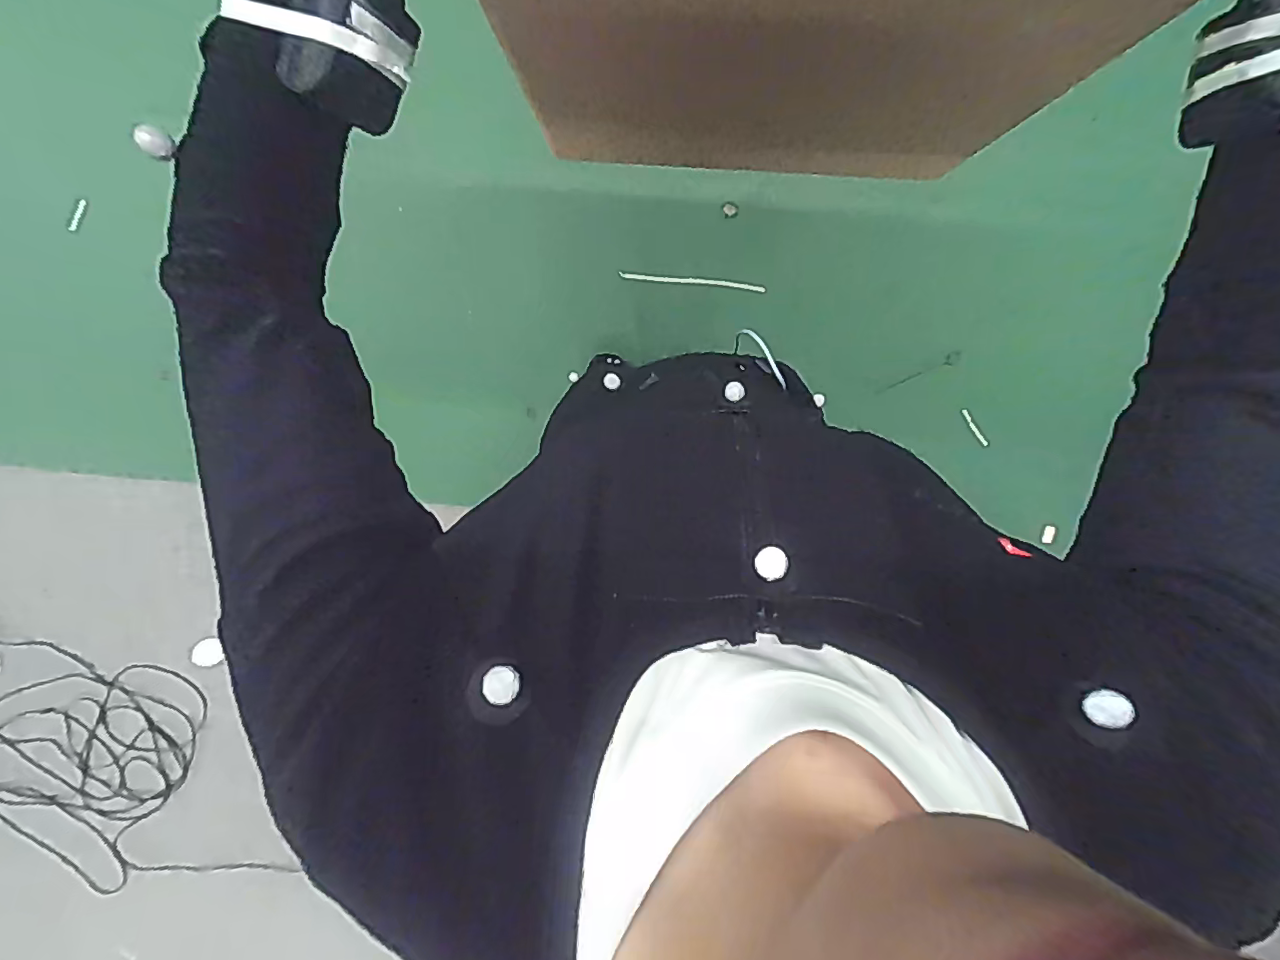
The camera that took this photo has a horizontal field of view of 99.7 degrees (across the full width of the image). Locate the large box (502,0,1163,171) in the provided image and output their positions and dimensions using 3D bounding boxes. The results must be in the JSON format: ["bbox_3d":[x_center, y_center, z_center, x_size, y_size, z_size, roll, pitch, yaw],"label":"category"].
[{"bbox_3d":[0.115,-0.450,0.395,0.408,0.320,0.320,3,102,0],"label":"large box"}]
